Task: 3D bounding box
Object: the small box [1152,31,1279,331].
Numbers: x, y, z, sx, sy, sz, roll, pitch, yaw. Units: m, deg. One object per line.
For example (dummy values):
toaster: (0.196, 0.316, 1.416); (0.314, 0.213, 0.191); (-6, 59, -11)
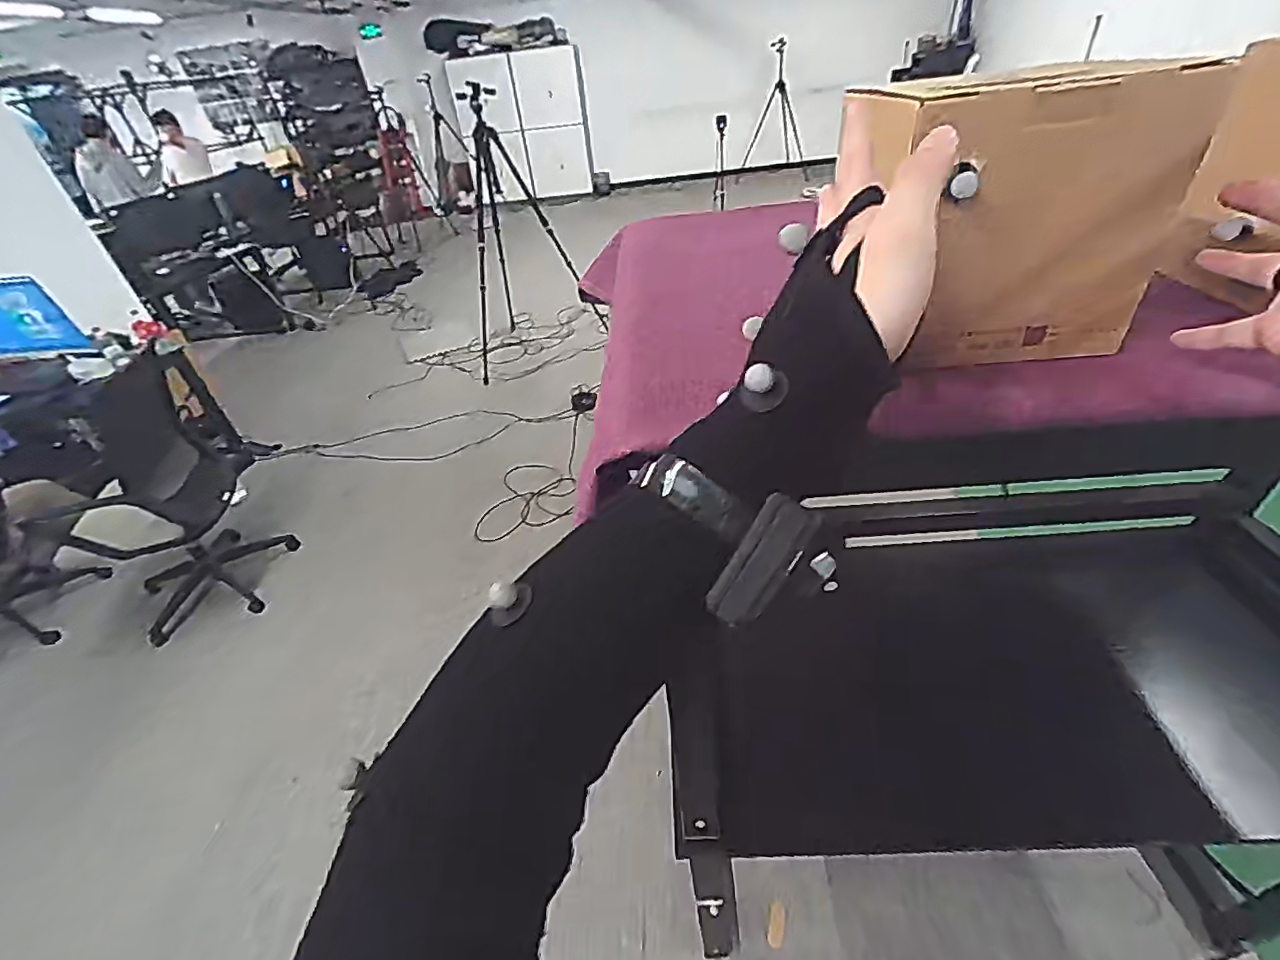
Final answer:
small box: (0.533, -0.216, 0.377); (0.179, 0.176, 0.168); (-2, 37, 9)
